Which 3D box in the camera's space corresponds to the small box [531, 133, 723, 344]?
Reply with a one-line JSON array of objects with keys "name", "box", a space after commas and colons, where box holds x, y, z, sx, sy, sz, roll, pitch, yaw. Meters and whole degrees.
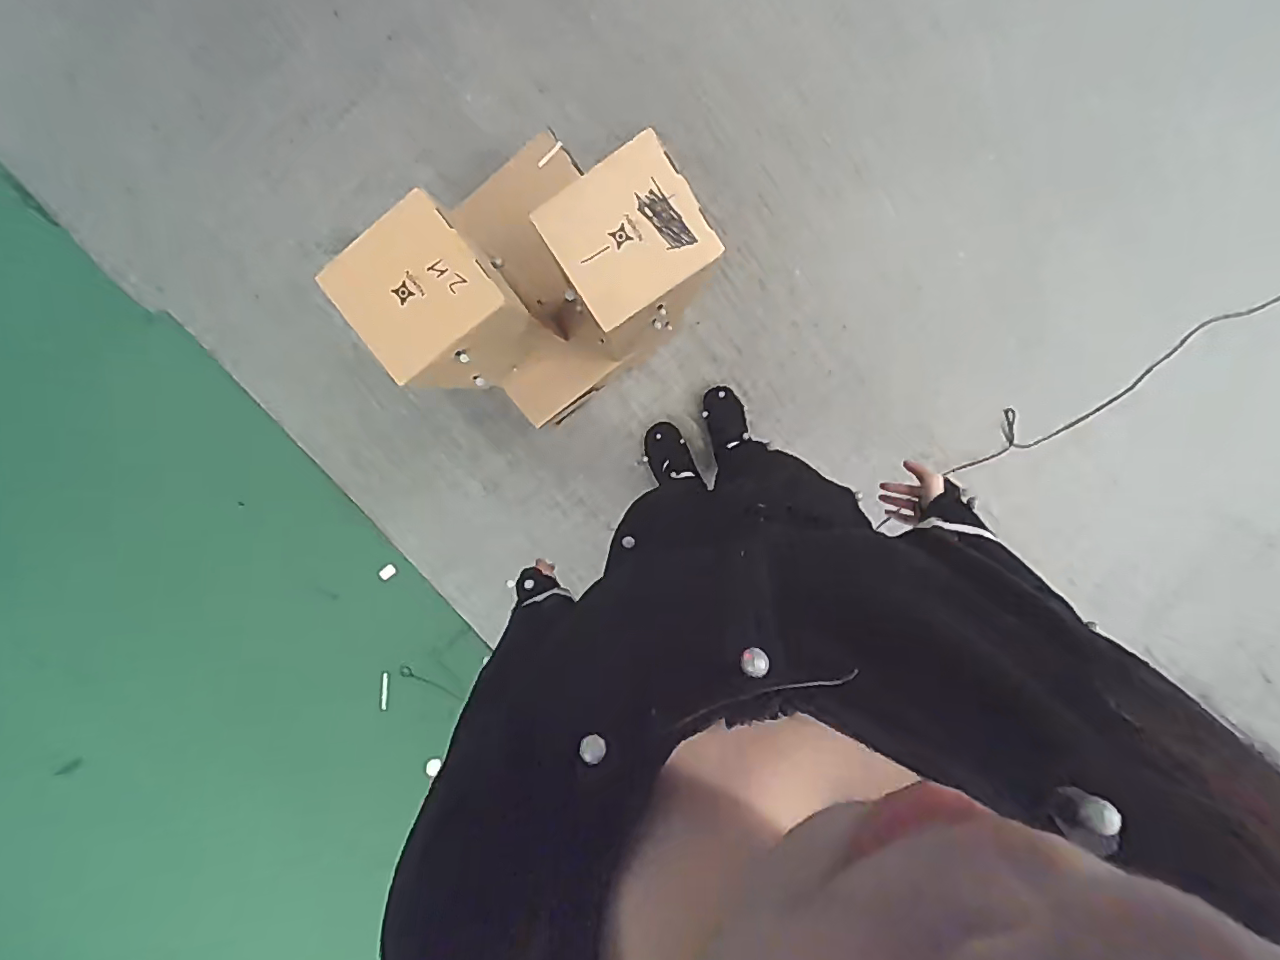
[{"name": "small box", "box": [-0.015, -0.300, 0.714, 0.179, 0.176, 0.168, -33, 96, 6]}]

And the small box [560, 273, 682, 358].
[{"name": "small box", "box": [-0.026, -0.350, 1.038, 0.168, 0.176, 0.179, -34, 95, 5]}]

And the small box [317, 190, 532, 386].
[{"name": "small box", "box": [-0.273, -0.239, 0.728, 0.179, 0.176, 0.168, -36, 96, 7]}]

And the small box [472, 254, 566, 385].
[{"name": "small box", "box": [-0.269, -0.299, 1.053, 0.168, 0.176, 0.179, -34, 95, 7]}]

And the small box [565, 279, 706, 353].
[{"name": "small box", "box": [-0.017, -0.325, 0.877, 0.179, 0.176, 0.168, -33, 96, 6]}]
